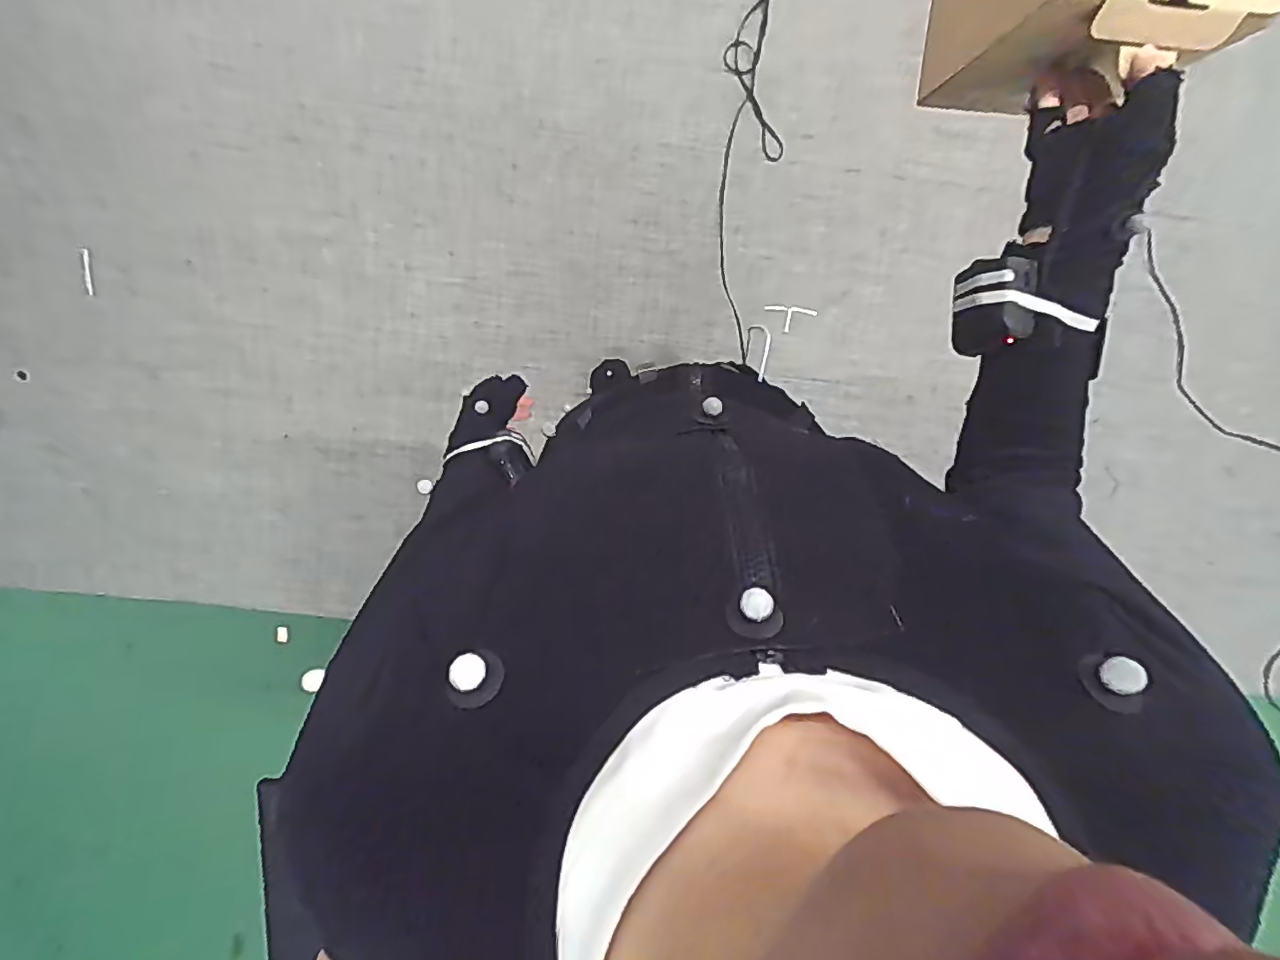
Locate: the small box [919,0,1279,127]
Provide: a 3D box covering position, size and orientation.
[{"bbox_3d":[0.349,-0.413,0.424,0.168,0.176,0.179,1,103,-5],"label":"small box"}]
